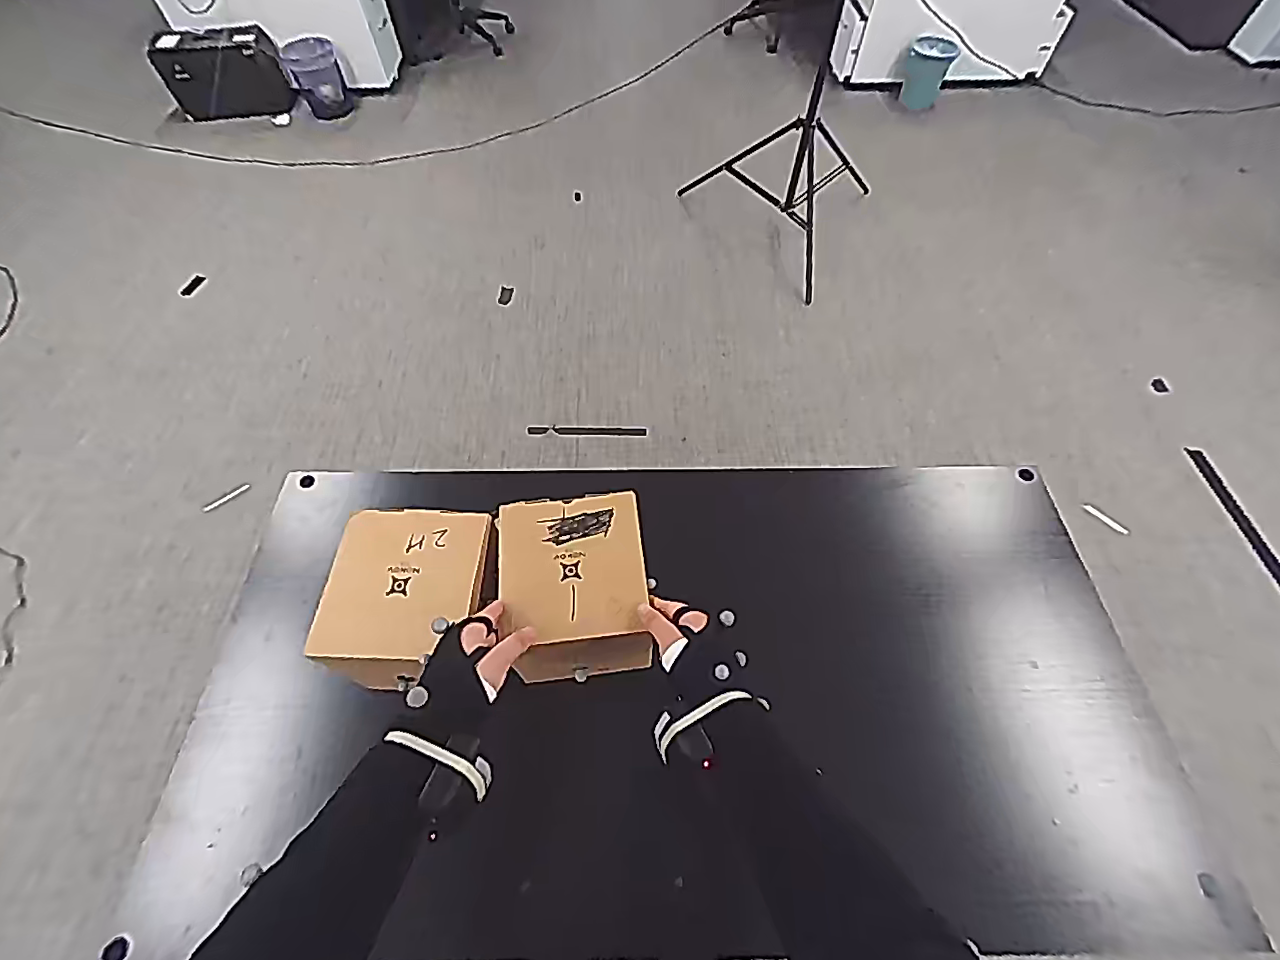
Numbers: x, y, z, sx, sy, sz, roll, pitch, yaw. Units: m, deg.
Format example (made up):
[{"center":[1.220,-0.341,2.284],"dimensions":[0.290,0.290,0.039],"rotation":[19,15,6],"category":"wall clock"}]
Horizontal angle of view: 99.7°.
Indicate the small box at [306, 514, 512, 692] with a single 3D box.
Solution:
[{"center":[-0.265,0.158,0.672],"dimensions":[0.168,0.176,0.179],"rotation":[1,57,0],"category":"small box"}]
